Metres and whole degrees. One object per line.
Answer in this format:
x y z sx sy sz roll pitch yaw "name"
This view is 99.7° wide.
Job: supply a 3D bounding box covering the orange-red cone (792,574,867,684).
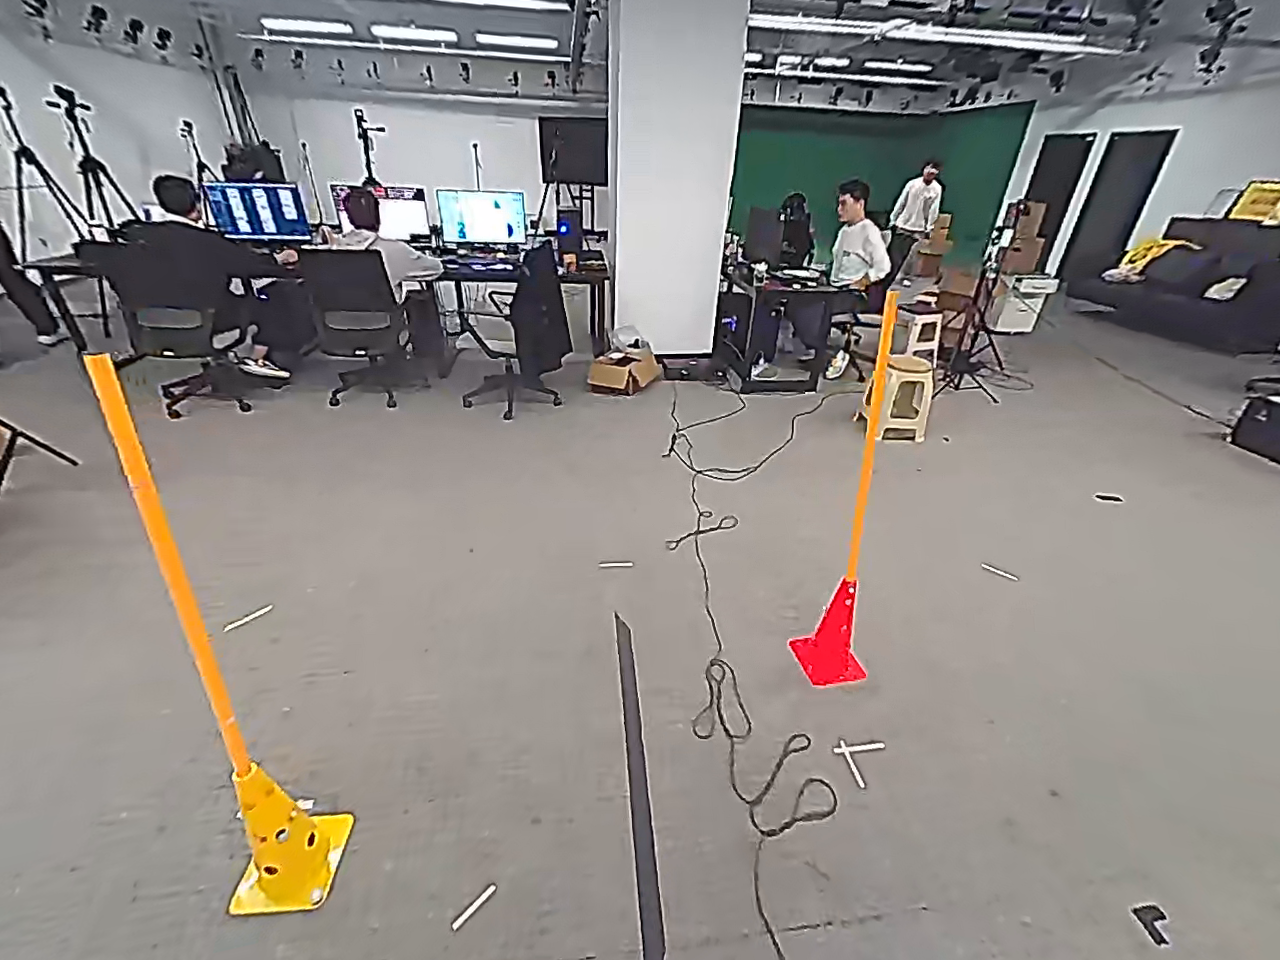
0.637 0.450 1.732 0.199 0.360 0.198 -5 30 -10 "orange-red cone"
